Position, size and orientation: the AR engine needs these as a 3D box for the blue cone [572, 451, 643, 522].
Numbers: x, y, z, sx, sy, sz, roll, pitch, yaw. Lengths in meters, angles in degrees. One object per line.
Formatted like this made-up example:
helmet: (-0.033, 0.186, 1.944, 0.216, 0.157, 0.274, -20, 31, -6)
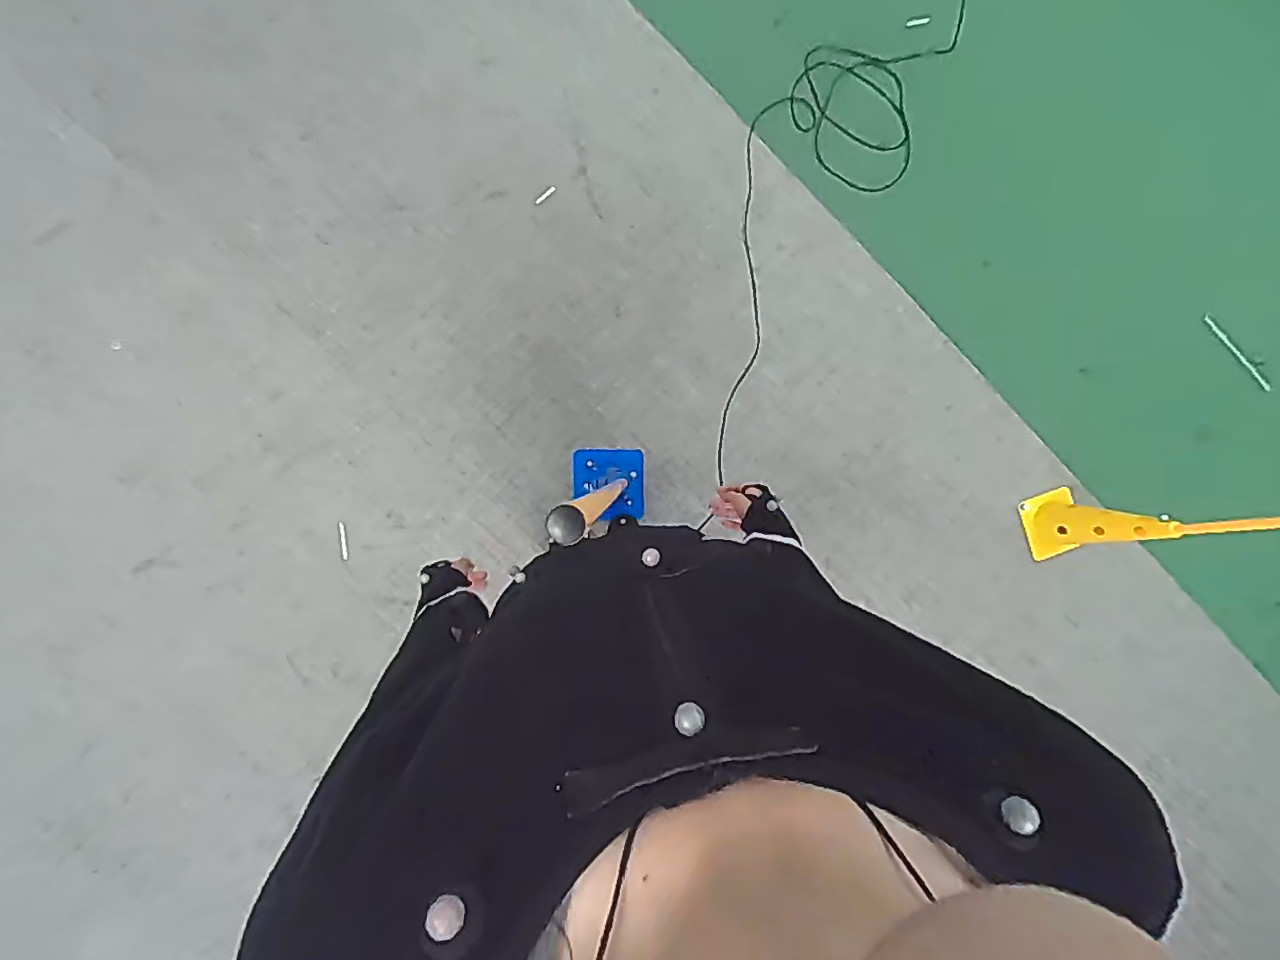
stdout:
blue cone: (-0.066, 0.015, 1.327, 0.193, 0.380, 0.192, -2, 89, -7)
